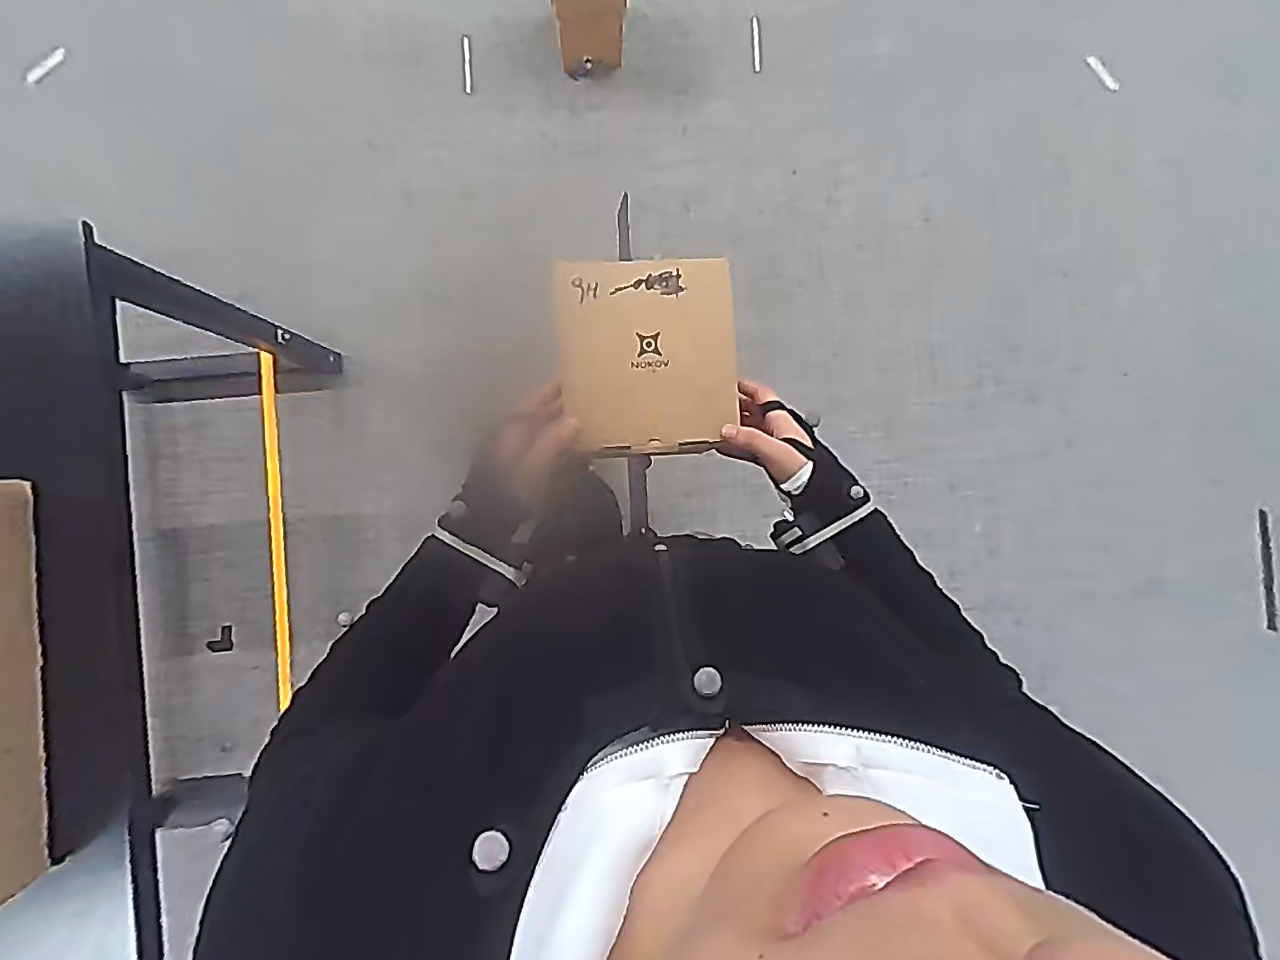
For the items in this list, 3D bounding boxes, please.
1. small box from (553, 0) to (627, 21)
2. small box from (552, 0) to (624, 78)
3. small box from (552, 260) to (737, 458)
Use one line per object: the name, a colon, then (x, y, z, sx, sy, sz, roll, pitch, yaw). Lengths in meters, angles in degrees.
small box: (-0.125, -1.203, 1.241, 0.179, 0.176, 0.168, -8, 91, -3)
small box: (-0.138, -1.200, 1.405, 0.168, 0.176, 0.179, -10, 92, -2)
small box: (0.000, -0.115, 0.577, 0.168, 0.176, 0.179, -4, 91, -5)
